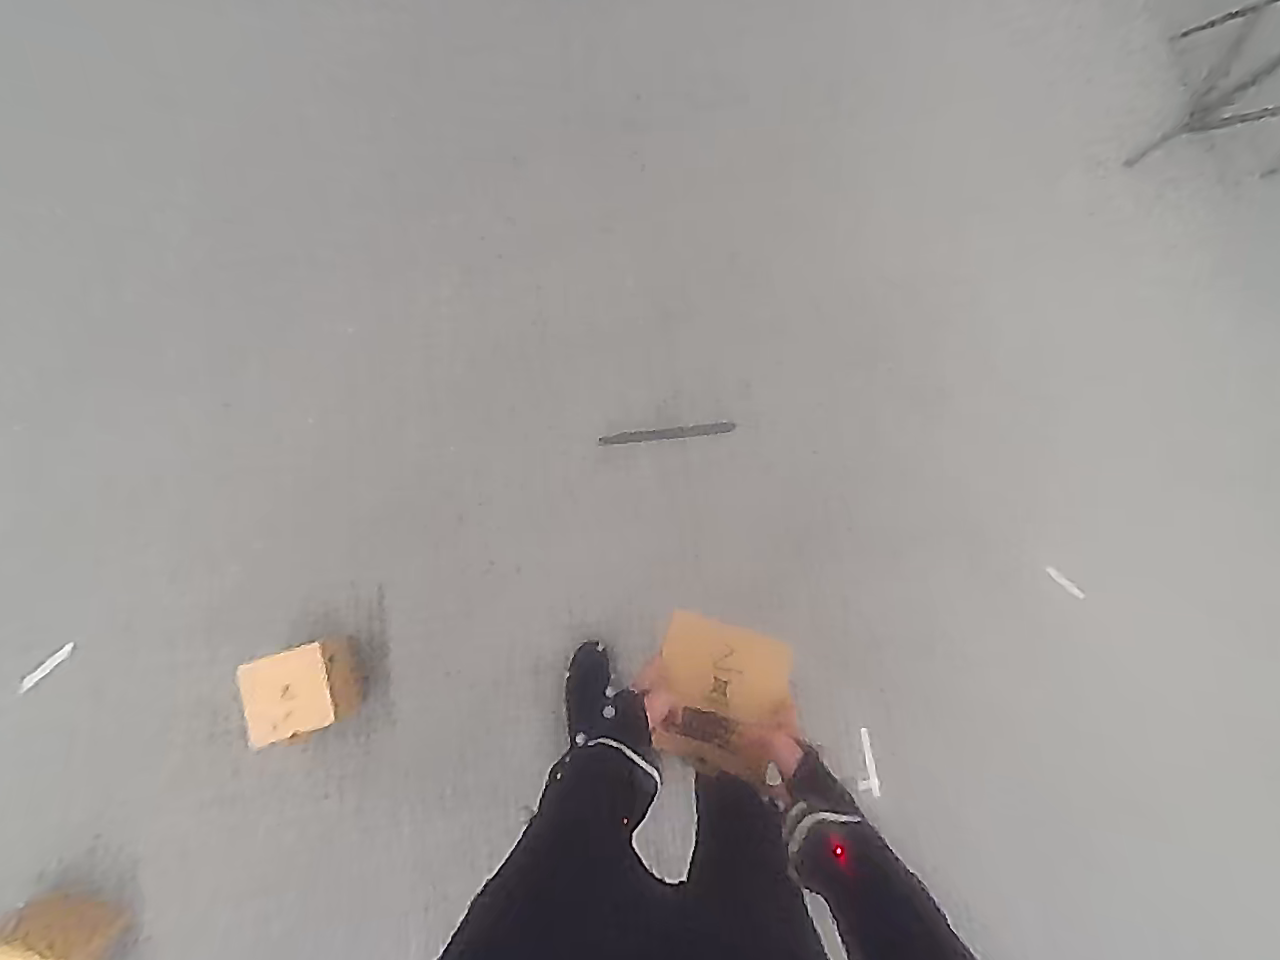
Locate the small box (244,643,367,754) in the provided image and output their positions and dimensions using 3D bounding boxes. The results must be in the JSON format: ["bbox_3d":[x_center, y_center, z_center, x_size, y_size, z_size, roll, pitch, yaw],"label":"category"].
[{"bbox_3d":[-0.737,0.474,1.206,0.168,0.176,0.179,-15,83,-10],"label":"small box"}]
